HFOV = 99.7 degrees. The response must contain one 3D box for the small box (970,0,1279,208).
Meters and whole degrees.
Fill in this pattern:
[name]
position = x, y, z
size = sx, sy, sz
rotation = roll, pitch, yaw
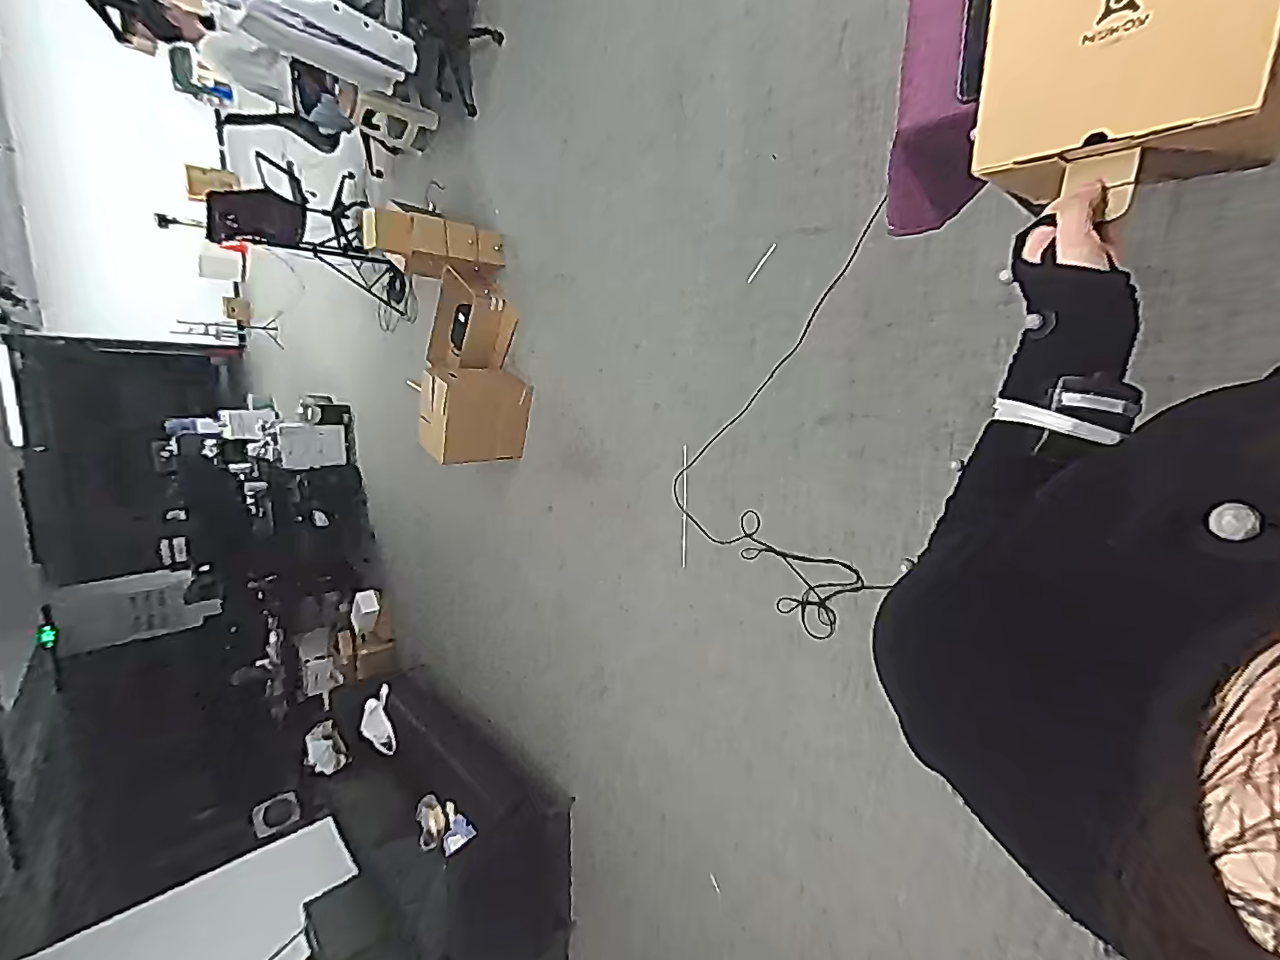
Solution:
[small box]
position = 0.398, -0.338, 0.436
size = 0.168, 0.176, 0.179
rotation = 16, 113, 48
